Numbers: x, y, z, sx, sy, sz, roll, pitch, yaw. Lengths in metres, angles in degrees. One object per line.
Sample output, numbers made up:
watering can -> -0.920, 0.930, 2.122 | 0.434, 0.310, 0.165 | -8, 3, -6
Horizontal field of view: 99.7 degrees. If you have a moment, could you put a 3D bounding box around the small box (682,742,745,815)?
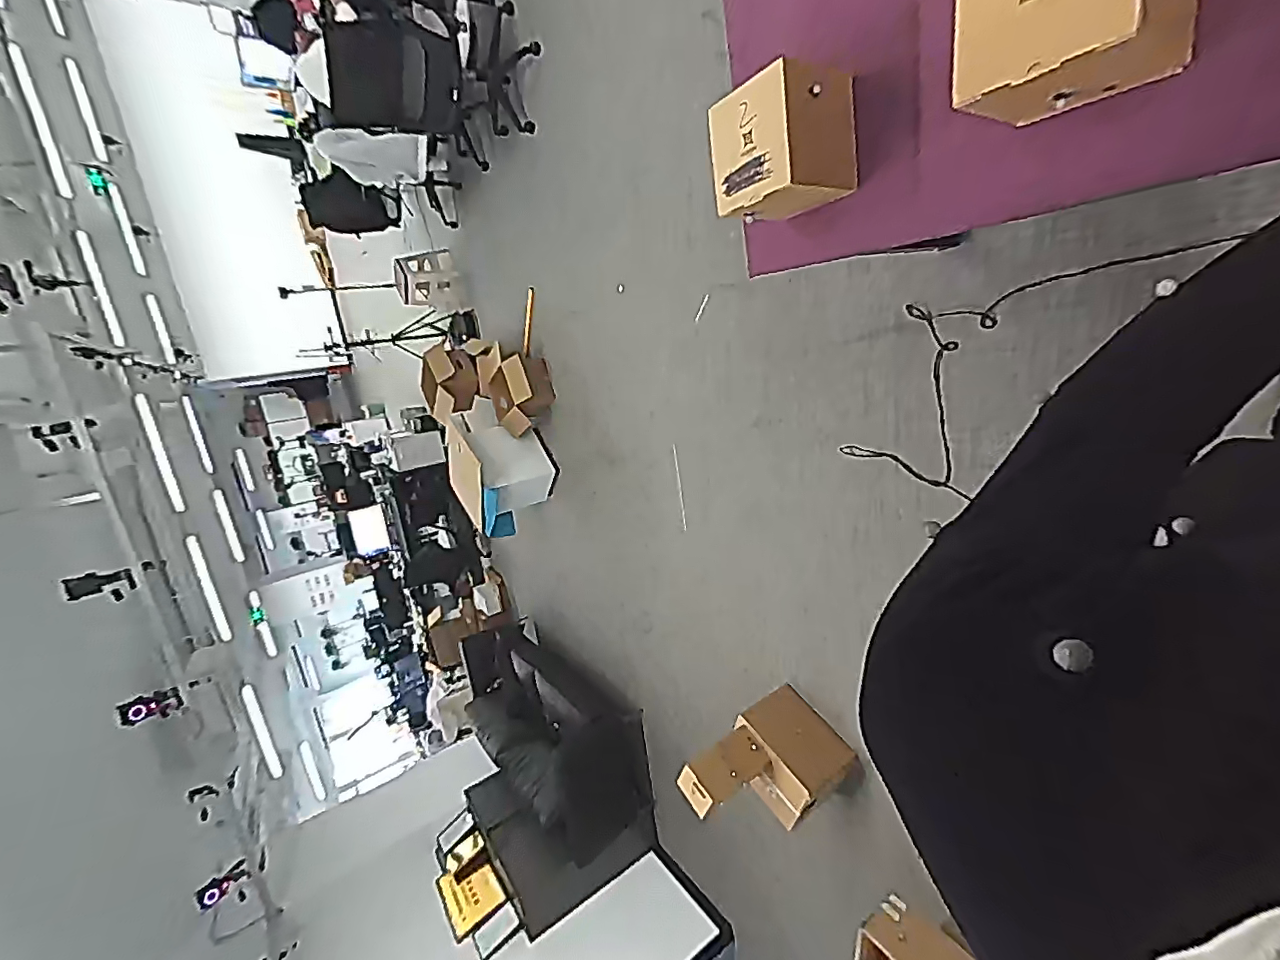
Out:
small box -> 0.300, 1.201, 2.188 | 0.168, 0.176, 0.179 | 46, 139, 35

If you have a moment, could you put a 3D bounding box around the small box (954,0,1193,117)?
small box -> 0.466, -0.524, 0.580 | 0.168, 0.176, 0.179 | 14, 116, 54

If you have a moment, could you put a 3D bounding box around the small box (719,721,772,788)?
small box -> 0.429, 1.163, 2.282 | 0.168, 0.176, 0.179 | 46, 138, 35

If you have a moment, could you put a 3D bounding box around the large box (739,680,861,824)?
large box -> 0.674, 1.177, 2.376 | 0.408, 0.320, 0.320 | 40, 137, 40
